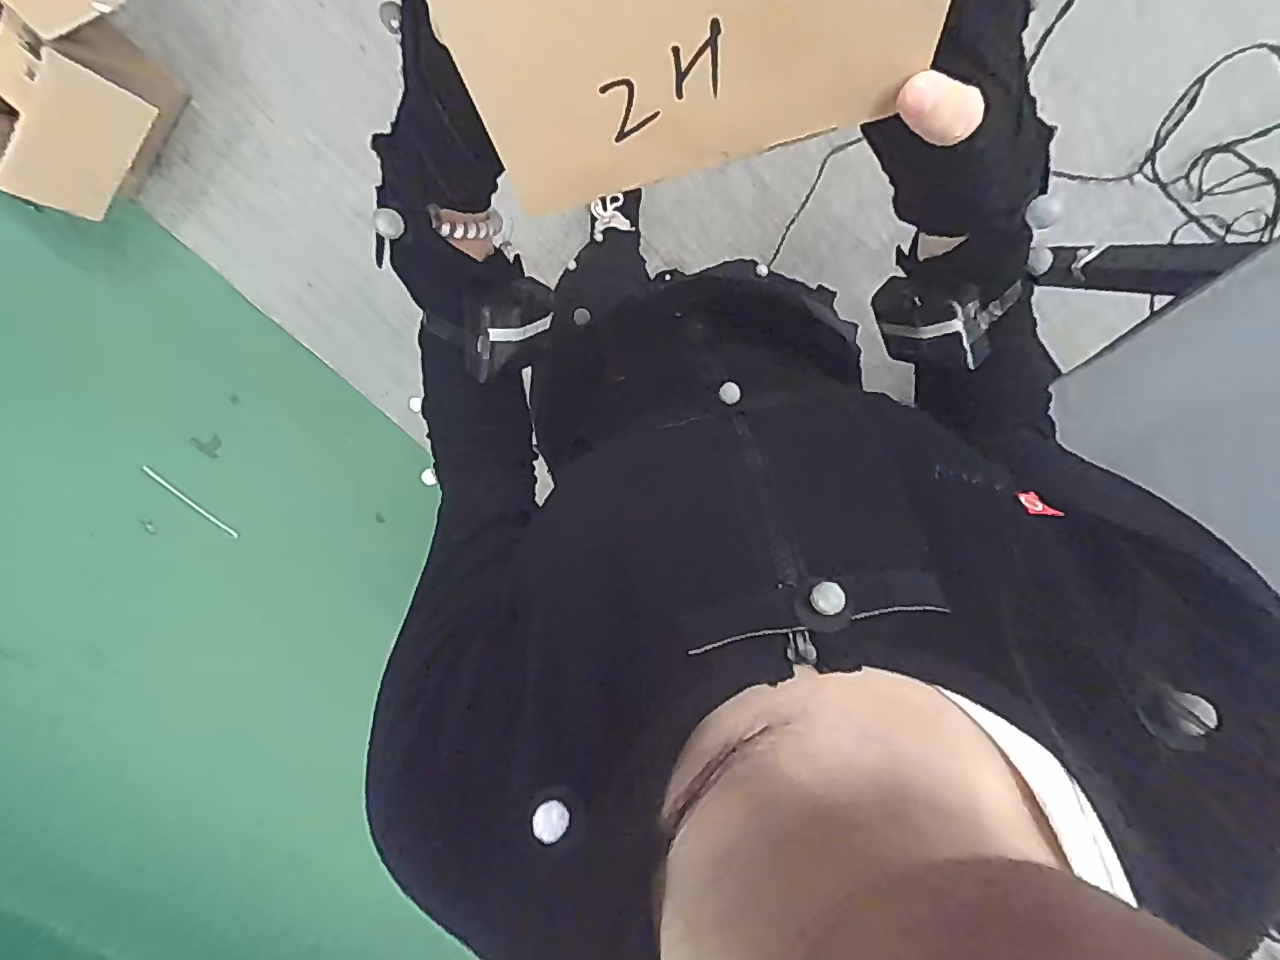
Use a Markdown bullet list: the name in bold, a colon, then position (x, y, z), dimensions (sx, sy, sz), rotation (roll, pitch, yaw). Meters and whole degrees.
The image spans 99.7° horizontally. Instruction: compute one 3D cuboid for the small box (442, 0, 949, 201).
- **small box**: position (0.003, -0.238, 0.173), dimensions (0.168, 0.179, 0.176), rotation (-12, 68, 6)
